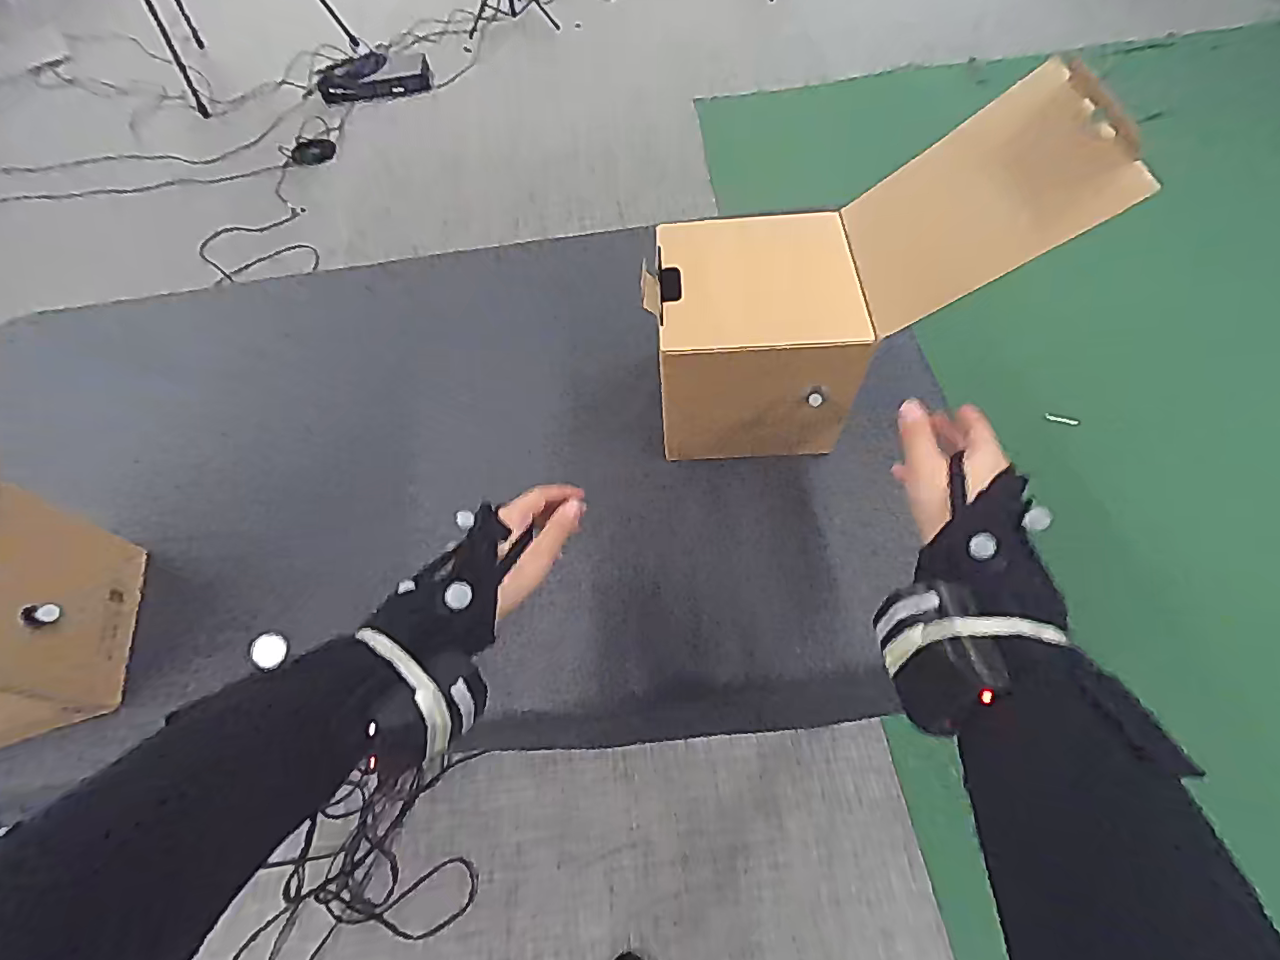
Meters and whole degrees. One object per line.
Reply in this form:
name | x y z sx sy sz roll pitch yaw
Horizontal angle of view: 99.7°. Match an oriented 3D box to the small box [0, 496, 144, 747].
small box | -0.578 0.126 0.451 0.179 0.176 0.168 -17 59 -5
